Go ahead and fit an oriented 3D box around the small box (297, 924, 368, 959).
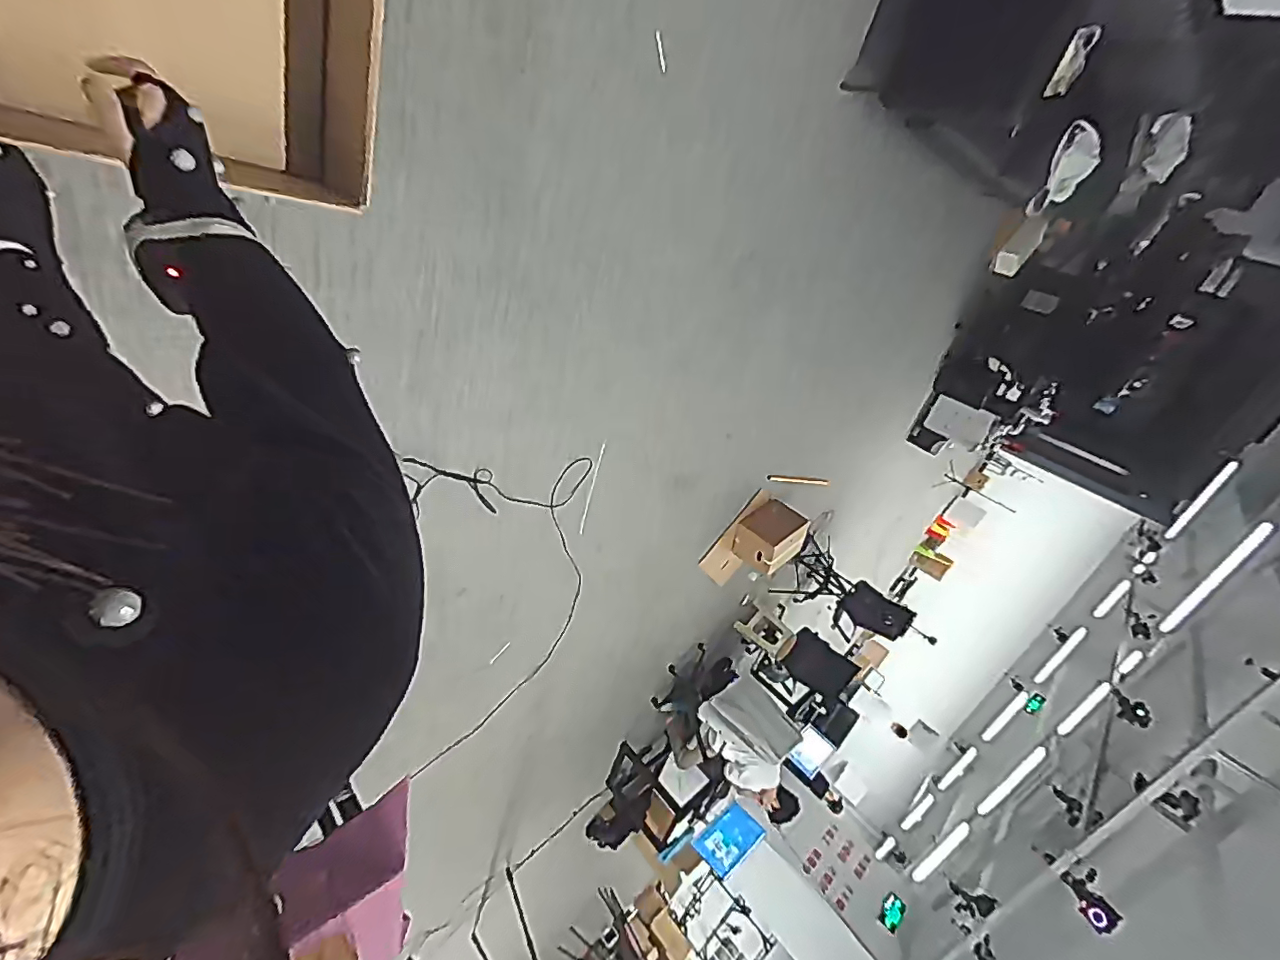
[{"bbox_3d":[-0.795,1.304,1.385,0.179,0.176,0.168,-14,131,-42],"label":"small box"}]
